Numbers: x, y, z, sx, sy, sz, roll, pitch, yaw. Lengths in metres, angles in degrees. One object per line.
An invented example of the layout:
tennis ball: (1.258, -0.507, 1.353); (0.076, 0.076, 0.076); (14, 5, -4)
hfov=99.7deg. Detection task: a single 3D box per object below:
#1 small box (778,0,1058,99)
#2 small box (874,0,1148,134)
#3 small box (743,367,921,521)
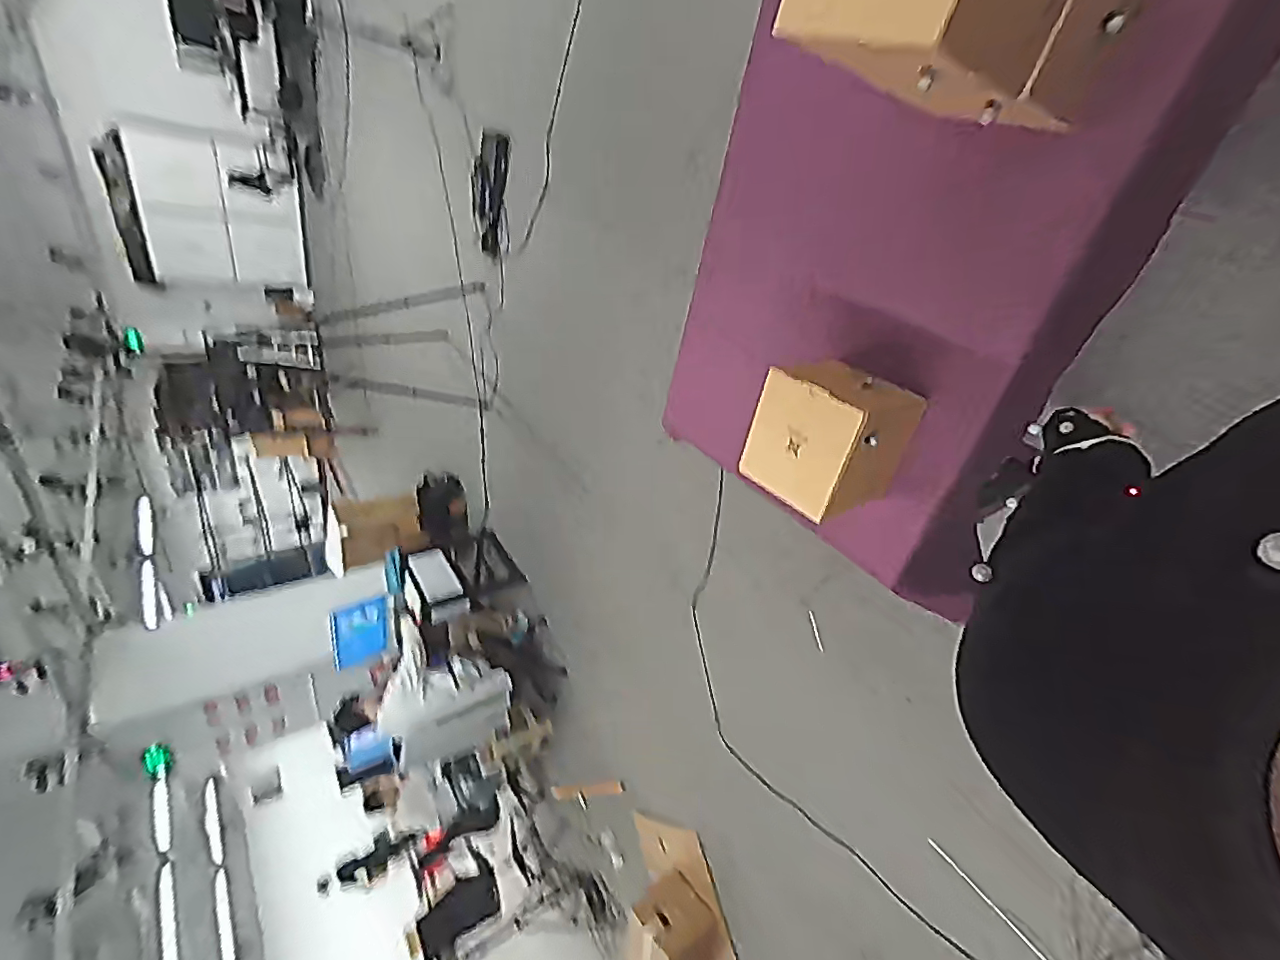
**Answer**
small box: (0.264, -0.458, 0.476); (0.179, 0.176, 0.168); (45, 133, 38)
small box: (0.396, -0.483, 0.570); (0.179, 0.176, 0.168); (43, 131, 39)
small box: (0.292, -0.064, 0.829); (0.168, 0.176, 0.179); (40, 128, 41)
